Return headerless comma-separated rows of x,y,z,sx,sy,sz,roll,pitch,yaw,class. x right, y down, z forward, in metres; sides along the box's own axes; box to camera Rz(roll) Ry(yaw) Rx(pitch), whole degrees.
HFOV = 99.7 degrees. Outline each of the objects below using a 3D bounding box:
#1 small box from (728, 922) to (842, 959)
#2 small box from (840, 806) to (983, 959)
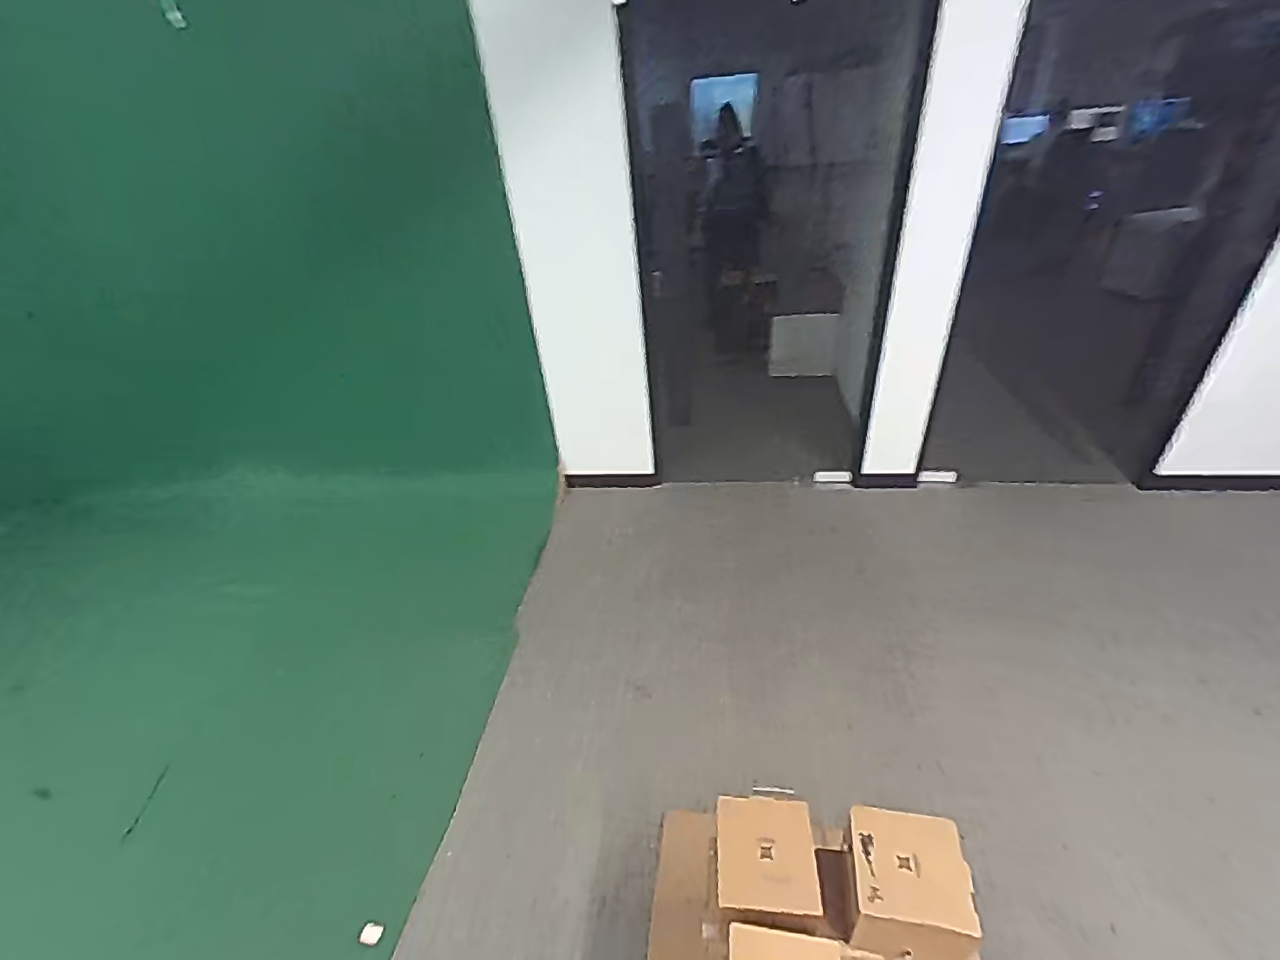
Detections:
0.212,0.810,0.808,0.168,0.176,0.179,2,37,11,small box
0.451,0.701,0.929,0.179,0.176,0.168,3,35,14,small box
